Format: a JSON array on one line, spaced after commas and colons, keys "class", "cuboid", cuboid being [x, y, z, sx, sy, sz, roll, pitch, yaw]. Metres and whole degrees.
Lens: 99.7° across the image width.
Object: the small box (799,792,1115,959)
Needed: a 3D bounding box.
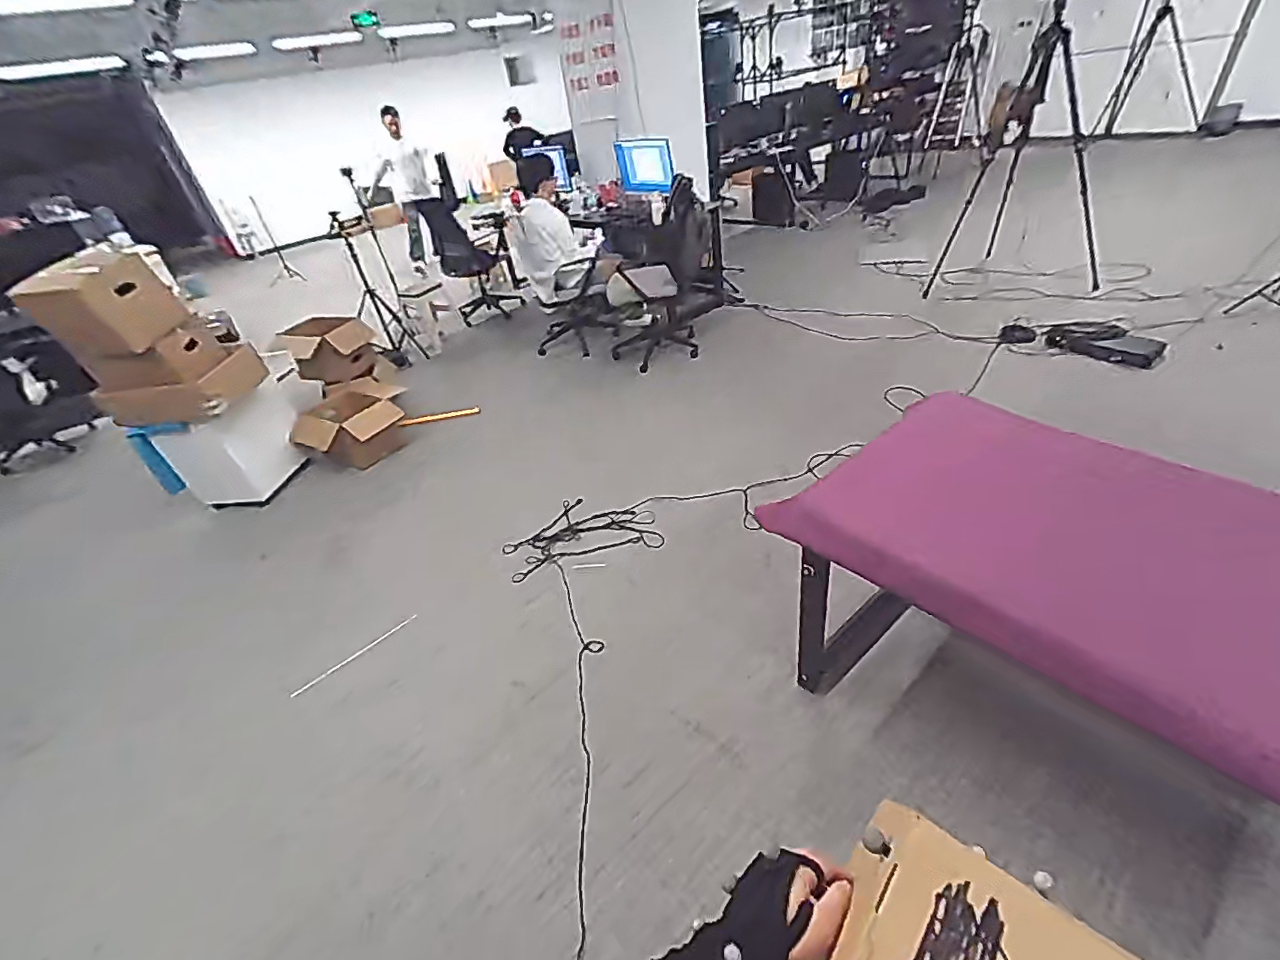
[{"class": "small box", "cuboid": [0.260, 0.413, 0.483, 0.168, 0.176, 0.179, 32, 76, 29]}]
